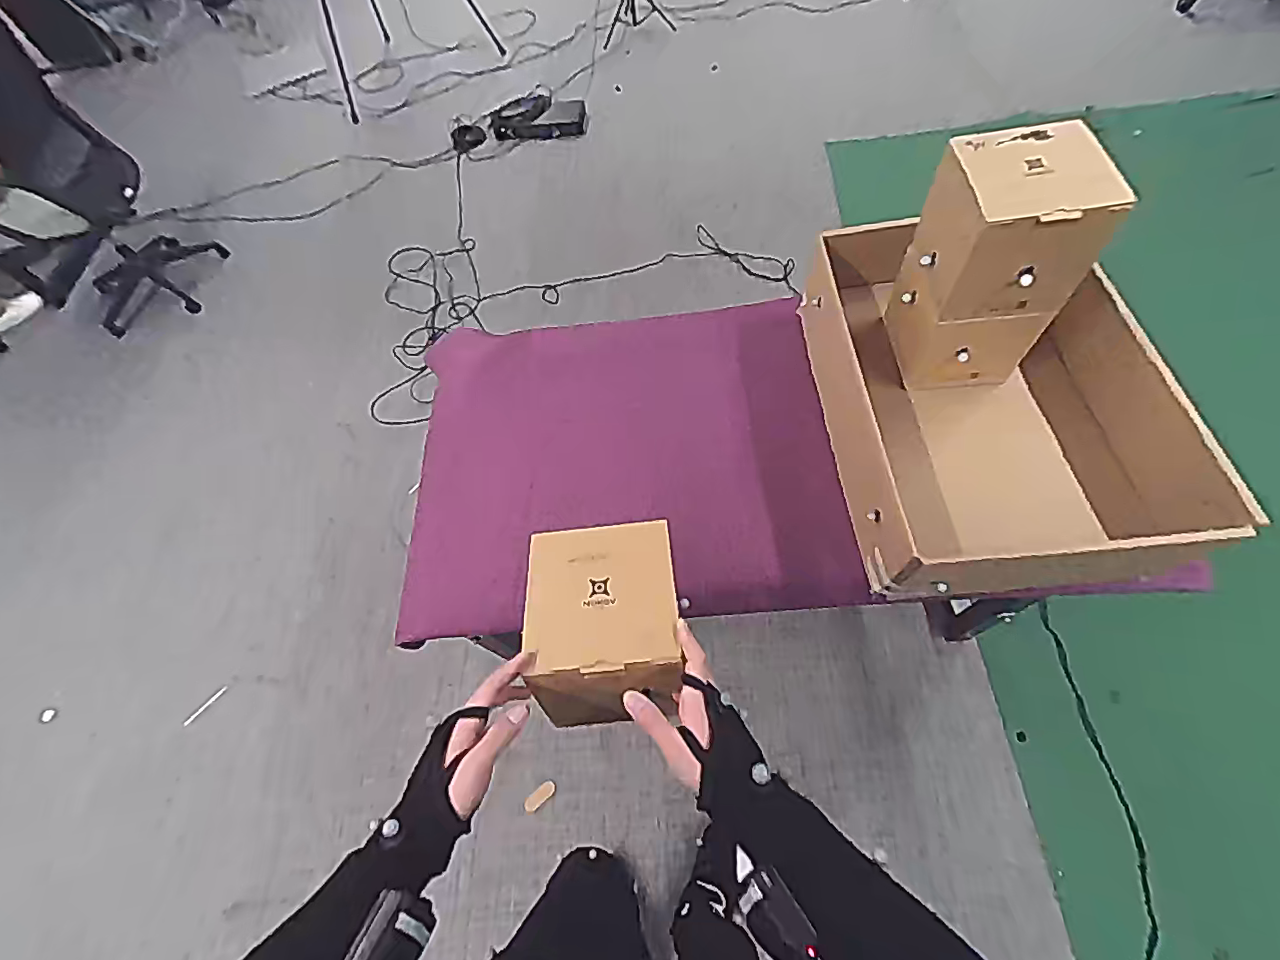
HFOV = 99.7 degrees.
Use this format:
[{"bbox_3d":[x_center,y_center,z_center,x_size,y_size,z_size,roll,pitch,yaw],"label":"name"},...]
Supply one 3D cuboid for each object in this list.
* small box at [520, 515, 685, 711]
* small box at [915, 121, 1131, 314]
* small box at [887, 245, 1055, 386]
[{"bbox_3d":[-0.036,0.168,0.656,0.168,0.176,0.179,-6,49,2],"label":"small box"},{"bbox_3d":[0.502,-0.346,0.743,0.168,0.176,0.179,-3,63,7],"label":"small box"},{"bbox_3d":[0.523,-0.269,0.885,0.168,0.176,0.179,-4,62,8],"label":"small box"}]
